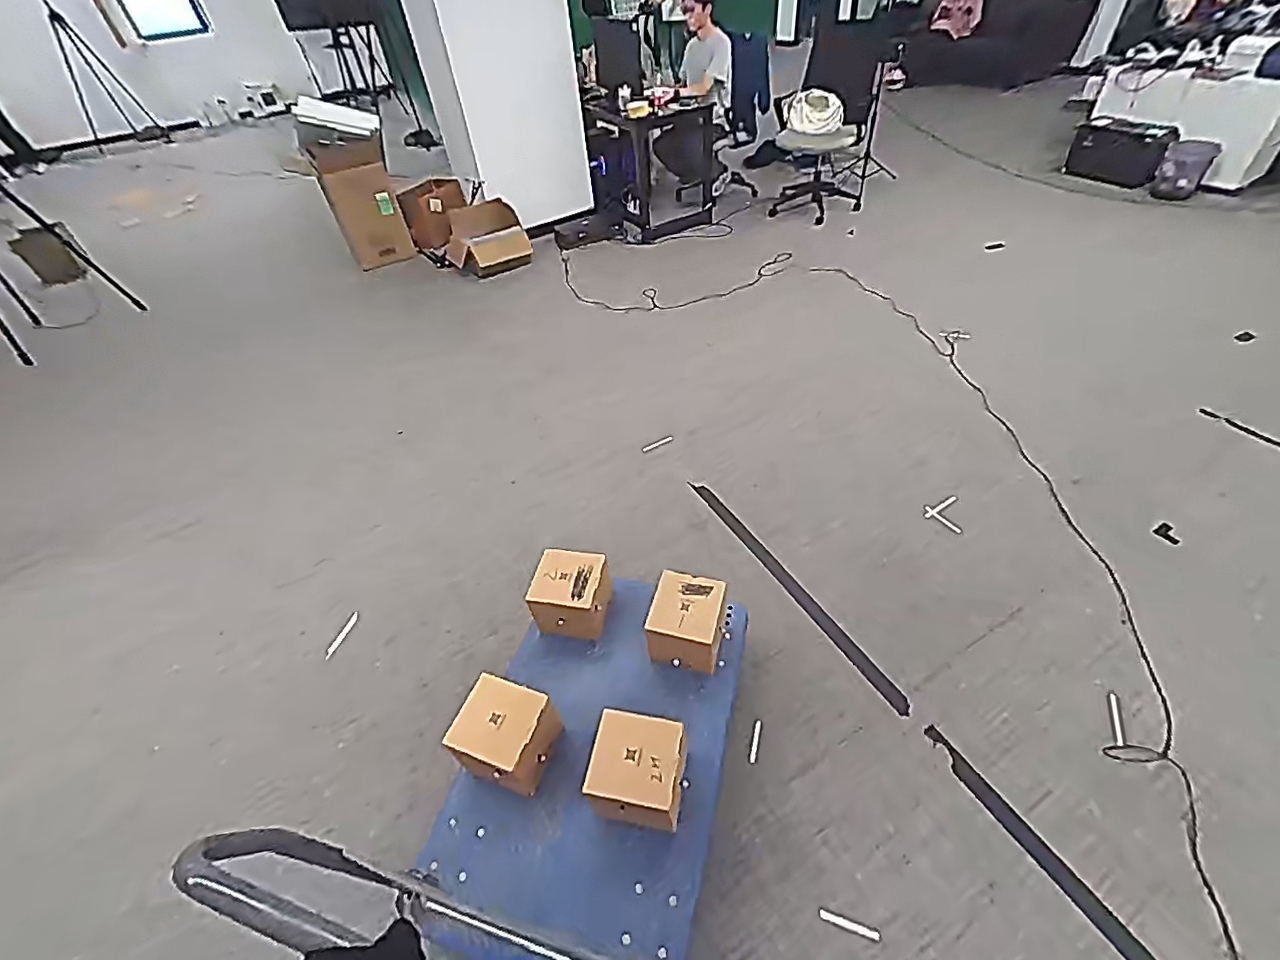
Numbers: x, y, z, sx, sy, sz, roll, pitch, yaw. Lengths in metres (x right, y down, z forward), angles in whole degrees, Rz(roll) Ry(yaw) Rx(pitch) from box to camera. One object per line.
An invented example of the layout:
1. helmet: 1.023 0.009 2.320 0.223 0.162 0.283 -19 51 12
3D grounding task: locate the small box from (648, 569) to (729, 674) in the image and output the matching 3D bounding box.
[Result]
1. small box: 0.126 0.357 1.364 0.168 0.176 0.179 9 48 17

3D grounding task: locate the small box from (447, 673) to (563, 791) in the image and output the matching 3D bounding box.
1. small box: -0.293 0.567 1.214 0.179 0.176 0.168 12 47 17

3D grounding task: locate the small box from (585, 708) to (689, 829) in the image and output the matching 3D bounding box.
1. small box: 0.003 0.606 1.132 0.179 0.176 0.168 5 46 13
